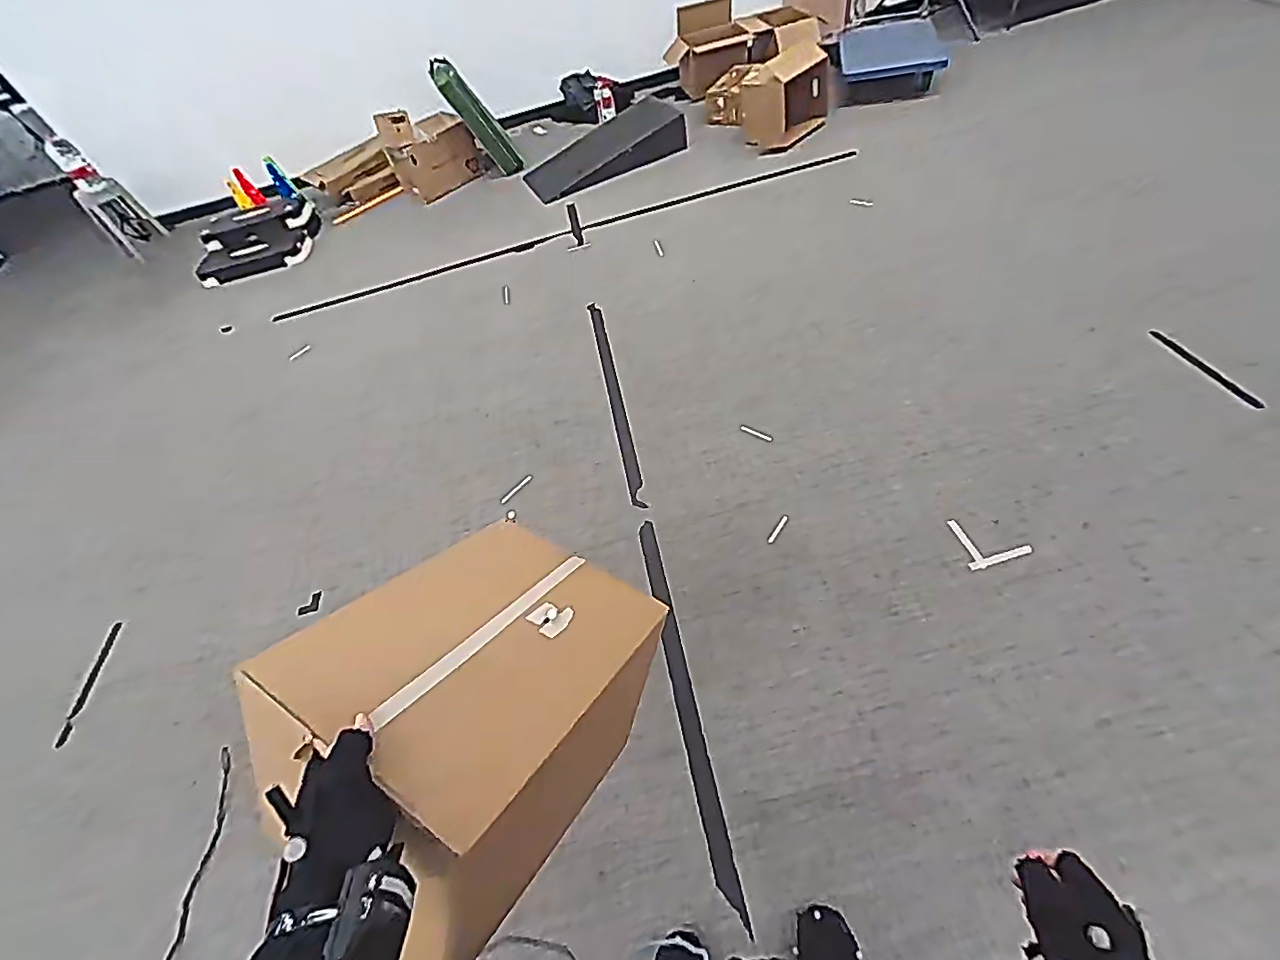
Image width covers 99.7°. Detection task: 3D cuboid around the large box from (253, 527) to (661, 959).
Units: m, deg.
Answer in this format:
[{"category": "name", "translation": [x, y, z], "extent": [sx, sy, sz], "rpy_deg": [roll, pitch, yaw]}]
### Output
[{"category": "large box", "translation": [-0.220, 0.327, 0.741], "extent": [0.320, 0.320, 0.408], "rpy_deg": [26, 29, 19]}]
